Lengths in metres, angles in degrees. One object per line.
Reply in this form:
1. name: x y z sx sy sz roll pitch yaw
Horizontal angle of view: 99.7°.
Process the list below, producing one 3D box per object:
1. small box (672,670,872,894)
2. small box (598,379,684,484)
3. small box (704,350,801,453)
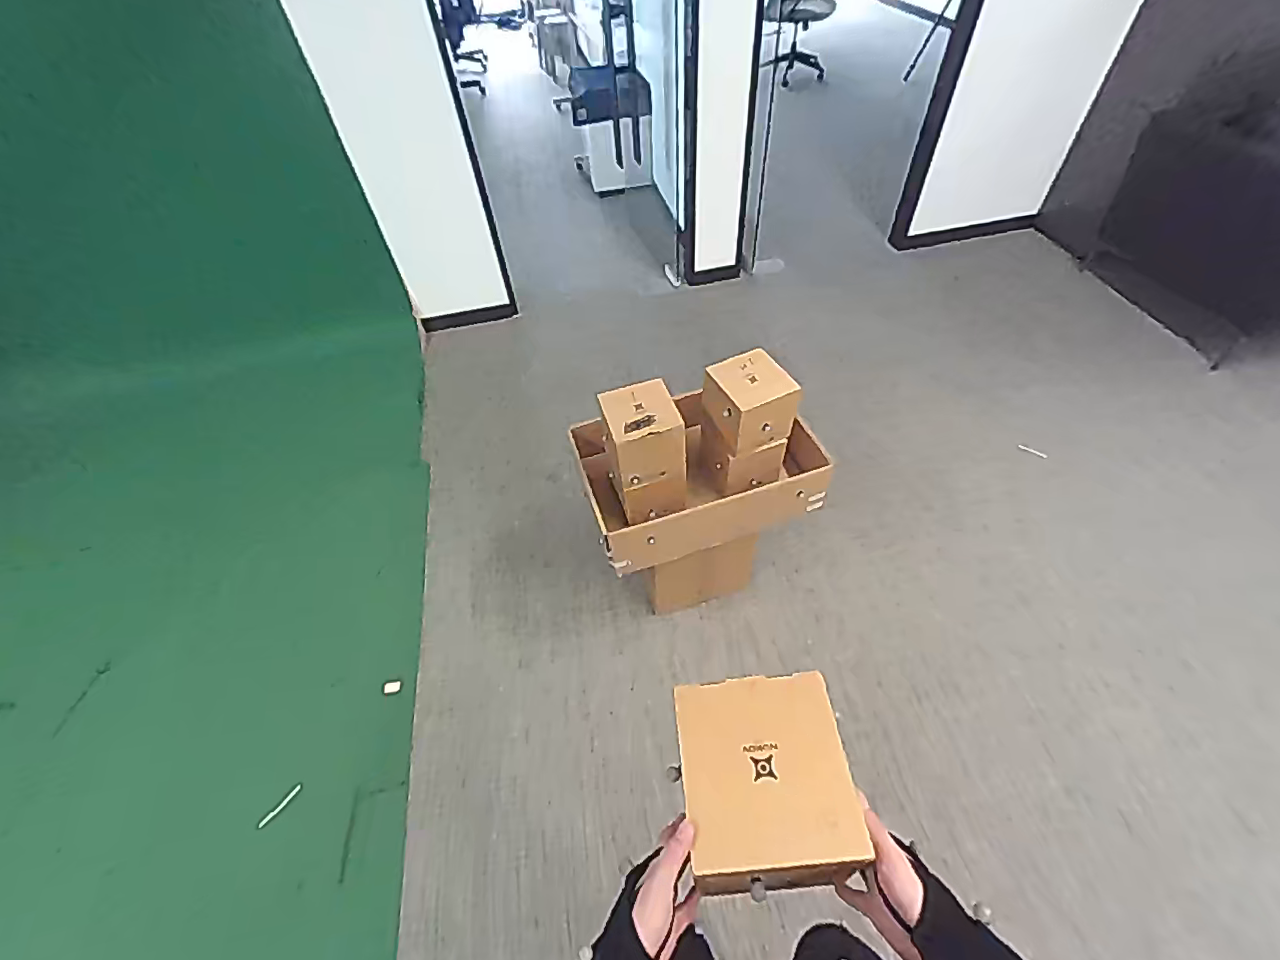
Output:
1. small box: 0.129 0.331 0.587 0.168 0.176 0.179 -7 46 3
2. small box: 0.006 -0.110 1.304 0.168 0.176 0.179 -15 50 -7
3. small box: 0.272 -0.188 1.347 0.168 0.176 0.179 -21 53 -14
